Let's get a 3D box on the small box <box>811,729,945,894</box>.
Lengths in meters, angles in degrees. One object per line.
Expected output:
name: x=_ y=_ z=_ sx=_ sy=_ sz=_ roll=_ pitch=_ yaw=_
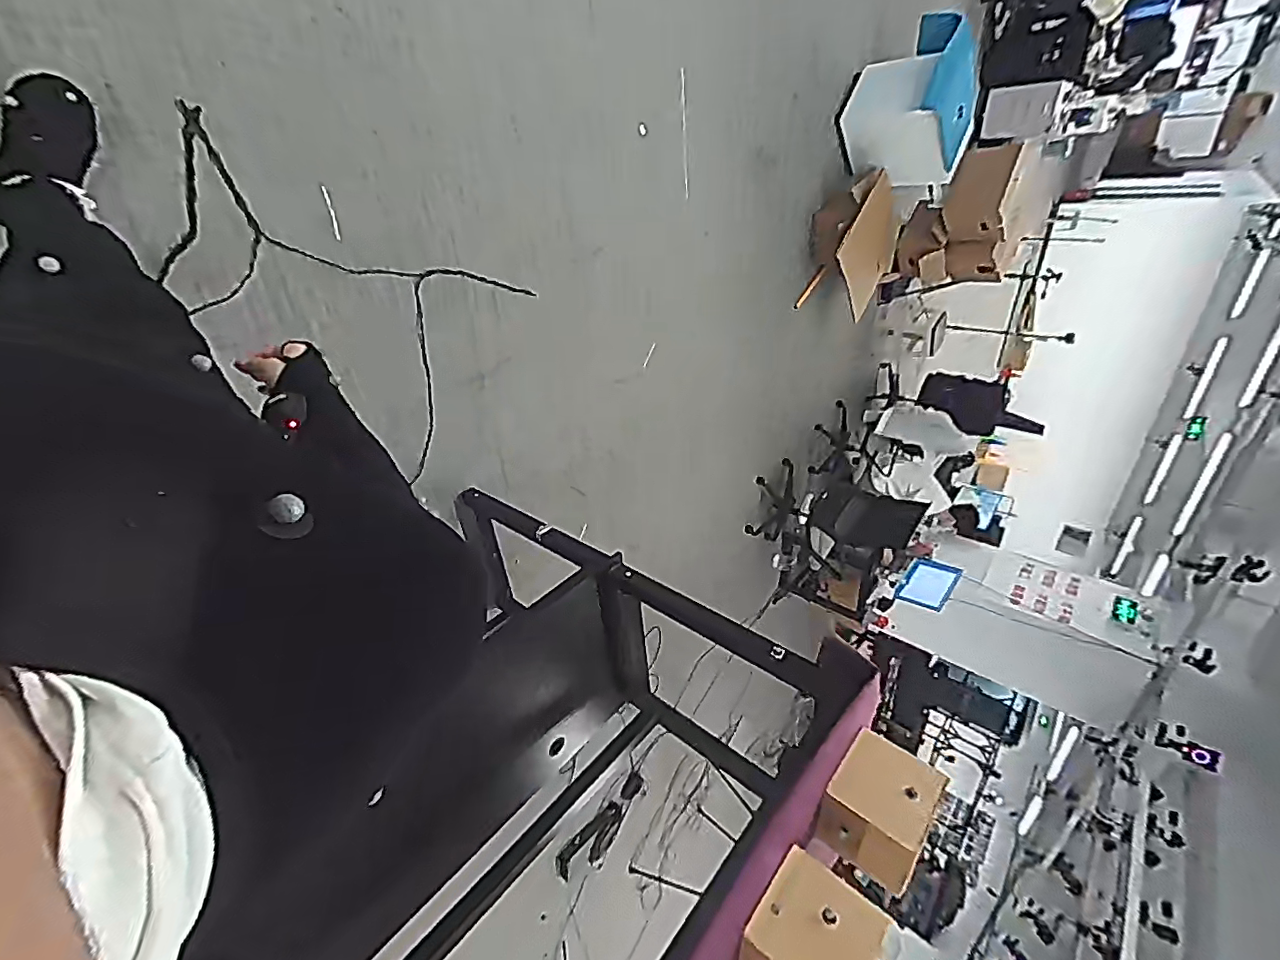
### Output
small box: x=0.453 y=0.625 z=1.041 sx=0.179 sy=0.176 sz=0.168 roll=-32 pitch=131 yaw=-38

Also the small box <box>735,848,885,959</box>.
small box: x=0.265 y=0.740 z=0.864 sx=0.168 sy=0.176 sz=0.179 roll=-33 pitch=133 yaw=-39
